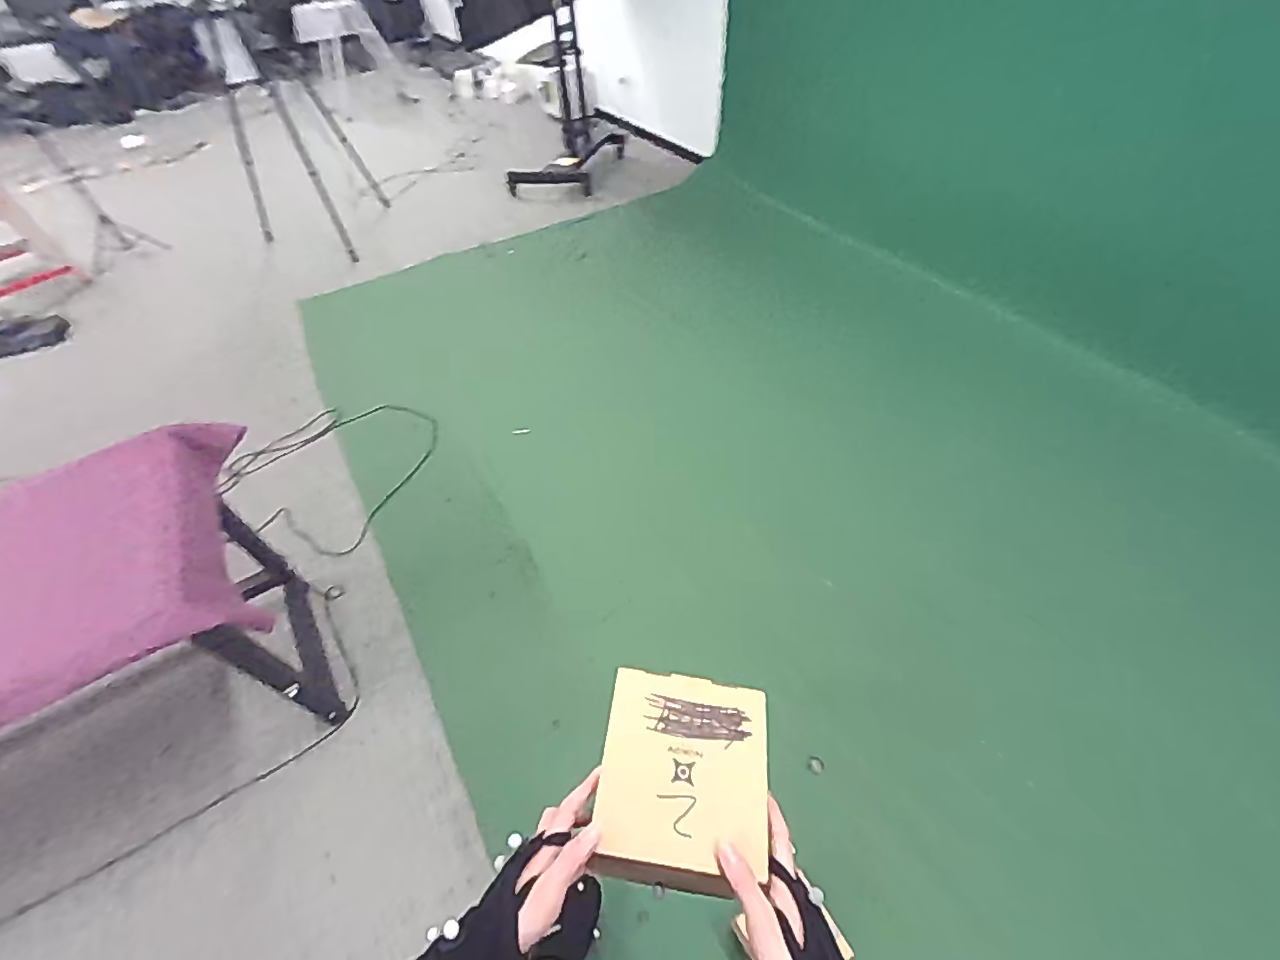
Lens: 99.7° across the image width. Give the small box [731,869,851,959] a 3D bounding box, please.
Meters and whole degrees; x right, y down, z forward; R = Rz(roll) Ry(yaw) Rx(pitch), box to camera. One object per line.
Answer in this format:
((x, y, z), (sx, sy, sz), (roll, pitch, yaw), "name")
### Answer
((0.312, 0.979, 1.162), (0.179, 0.176, 0.168), (-25, 53, -16), "small box")
